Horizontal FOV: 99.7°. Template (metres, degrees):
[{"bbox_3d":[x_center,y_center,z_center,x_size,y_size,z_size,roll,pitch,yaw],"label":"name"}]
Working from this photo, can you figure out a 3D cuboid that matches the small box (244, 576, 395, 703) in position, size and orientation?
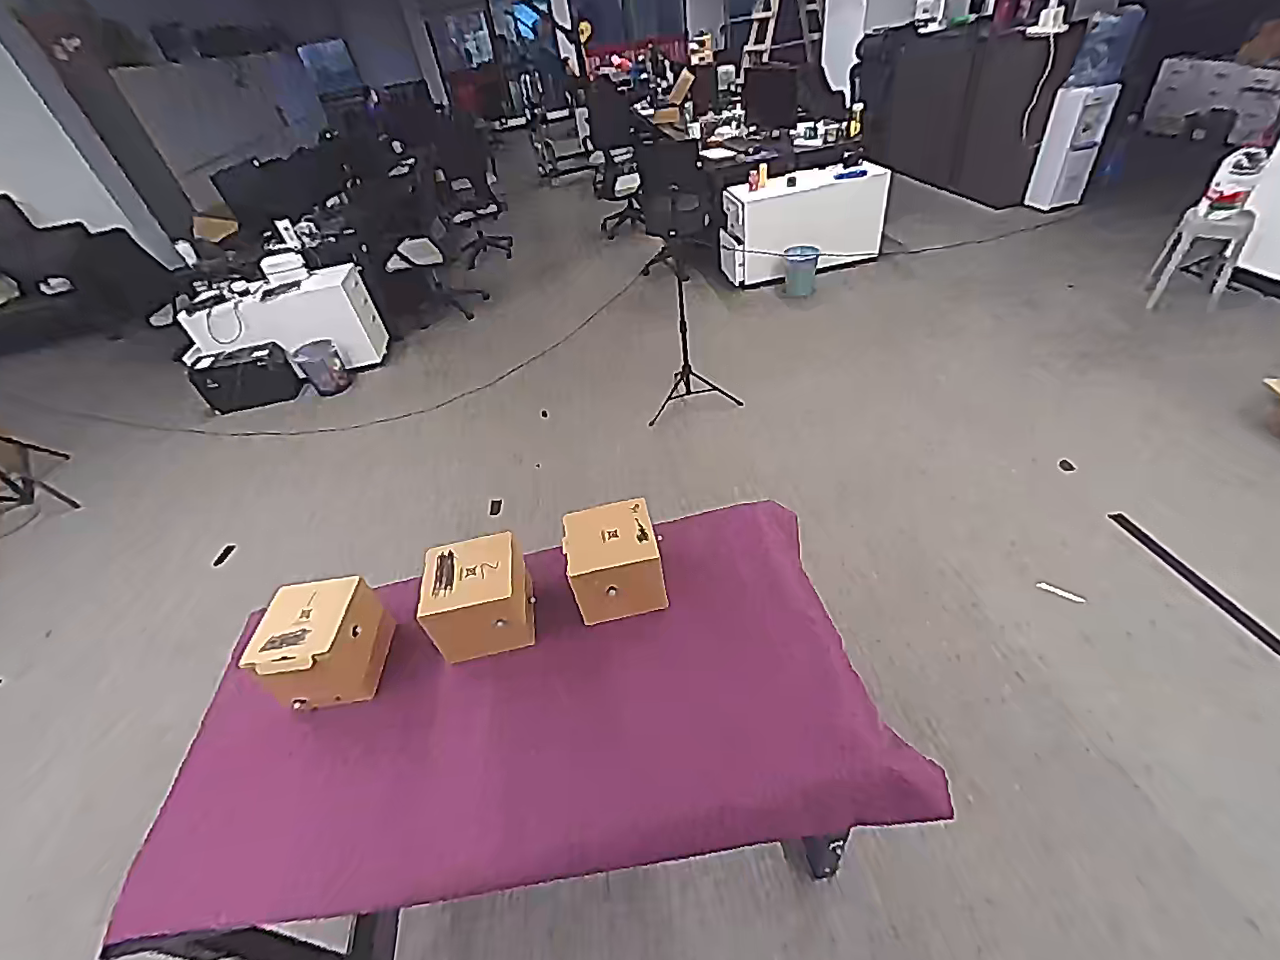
[{"bbox_3d":[-0.603,0.314,1.048,0.168,0.176,0.179,-8,41,2],"label":"small box"}]
